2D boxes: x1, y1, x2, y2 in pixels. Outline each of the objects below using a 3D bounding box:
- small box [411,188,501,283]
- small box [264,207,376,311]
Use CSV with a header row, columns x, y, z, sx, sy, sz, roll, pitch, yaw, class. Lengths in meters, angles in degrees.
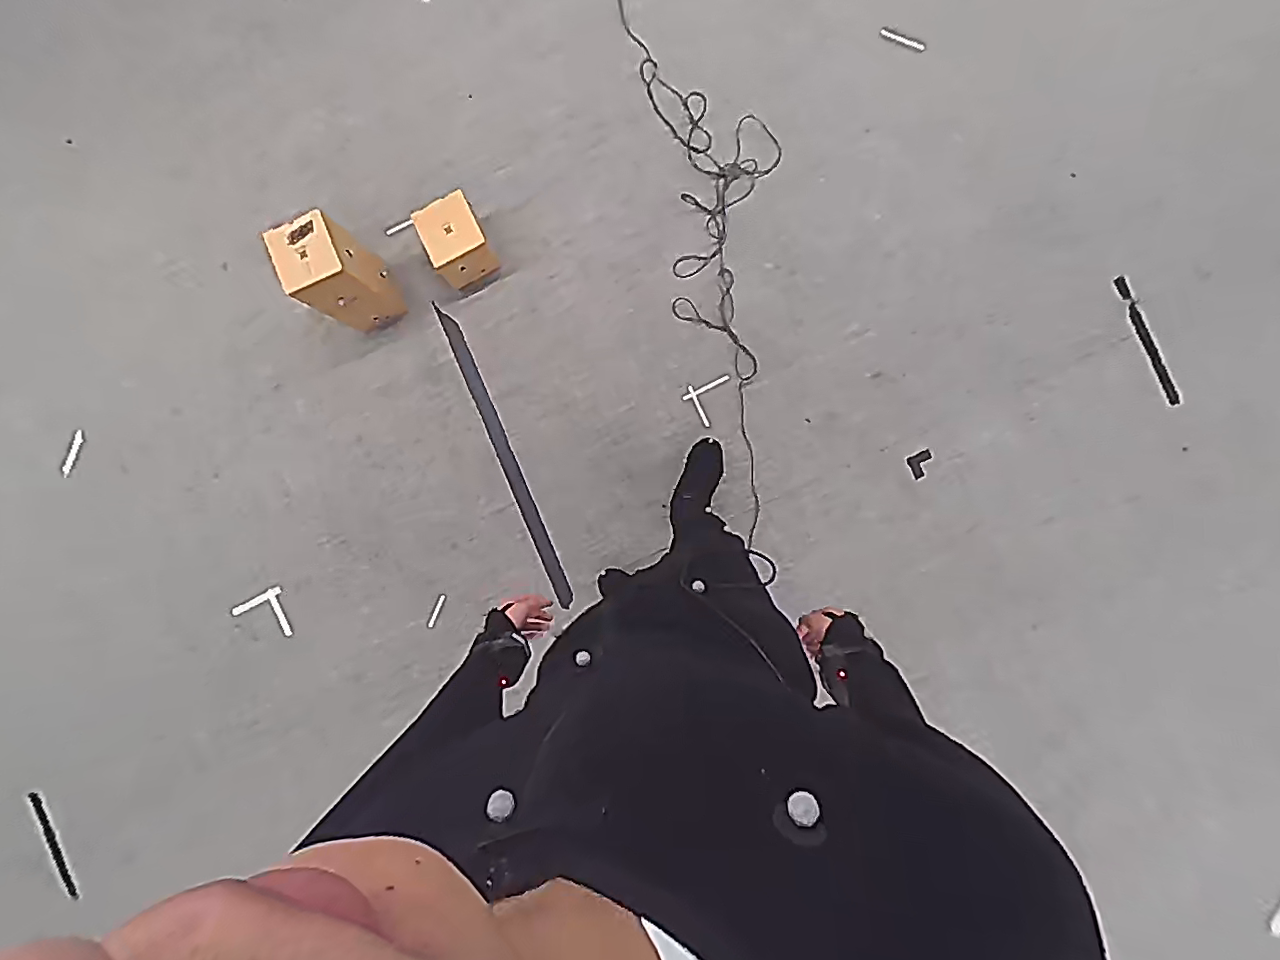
x,y,z,sx,sy,sz,roll,pitch,yaw,class
-0.537,-0.711,1.603,0.168,0.176,0.179,-26,87,2,small box
-0.851,-0.585,1.452,0.168,0.176,0.179,-22,88,3,small box
